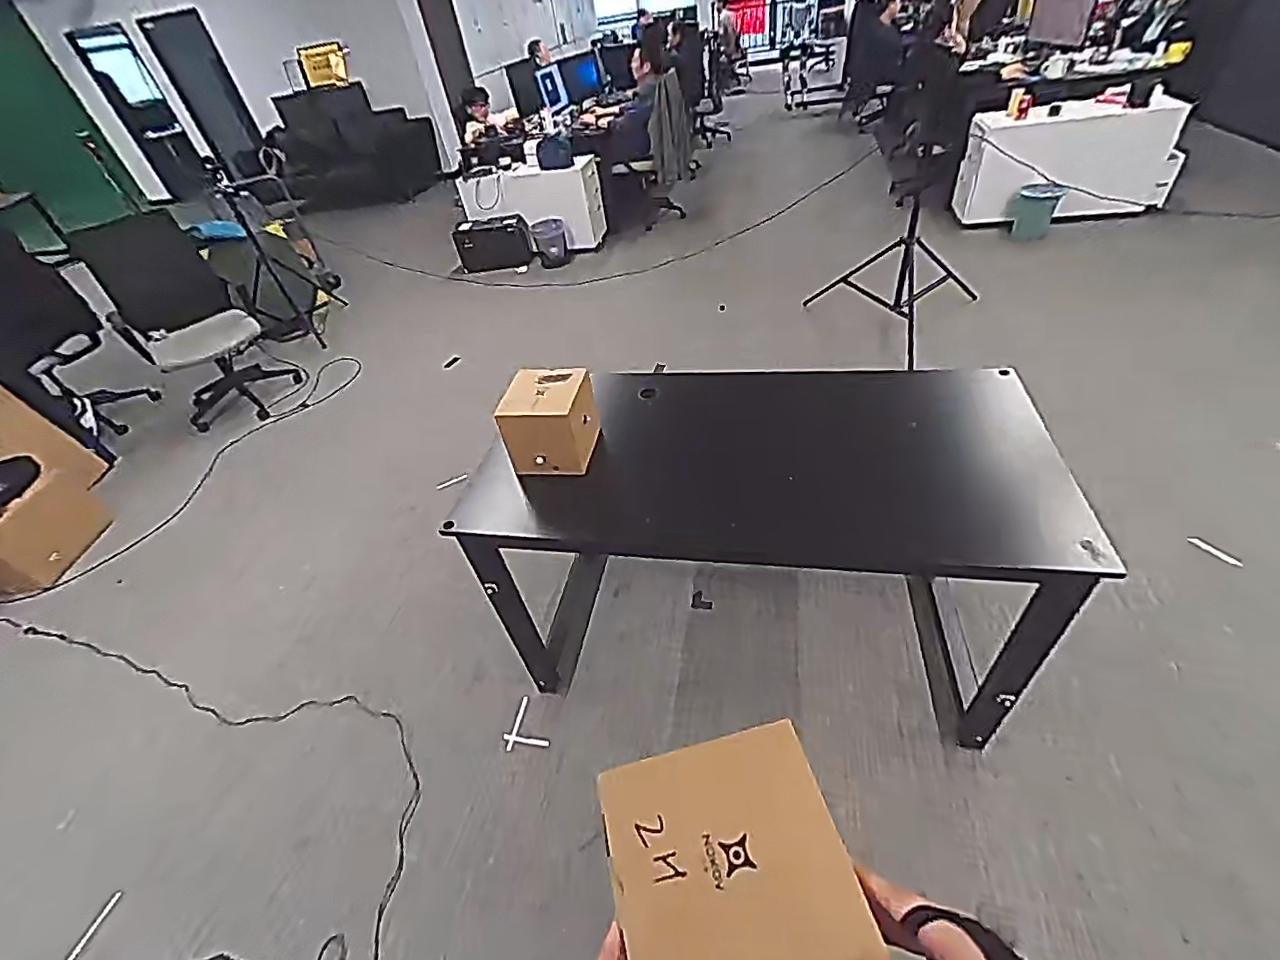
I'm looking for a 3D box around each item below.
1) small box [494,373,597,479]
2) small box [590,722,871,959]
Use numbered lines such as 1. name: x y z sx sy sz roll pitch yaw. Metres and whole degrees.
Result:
1. small box: -0.201 -0.123 1.213 0.168 0.176 0.179 1 44 12
2. small box: 0.065 0.341 0.470 0.179 0.176 0.168 -14 45 -4
